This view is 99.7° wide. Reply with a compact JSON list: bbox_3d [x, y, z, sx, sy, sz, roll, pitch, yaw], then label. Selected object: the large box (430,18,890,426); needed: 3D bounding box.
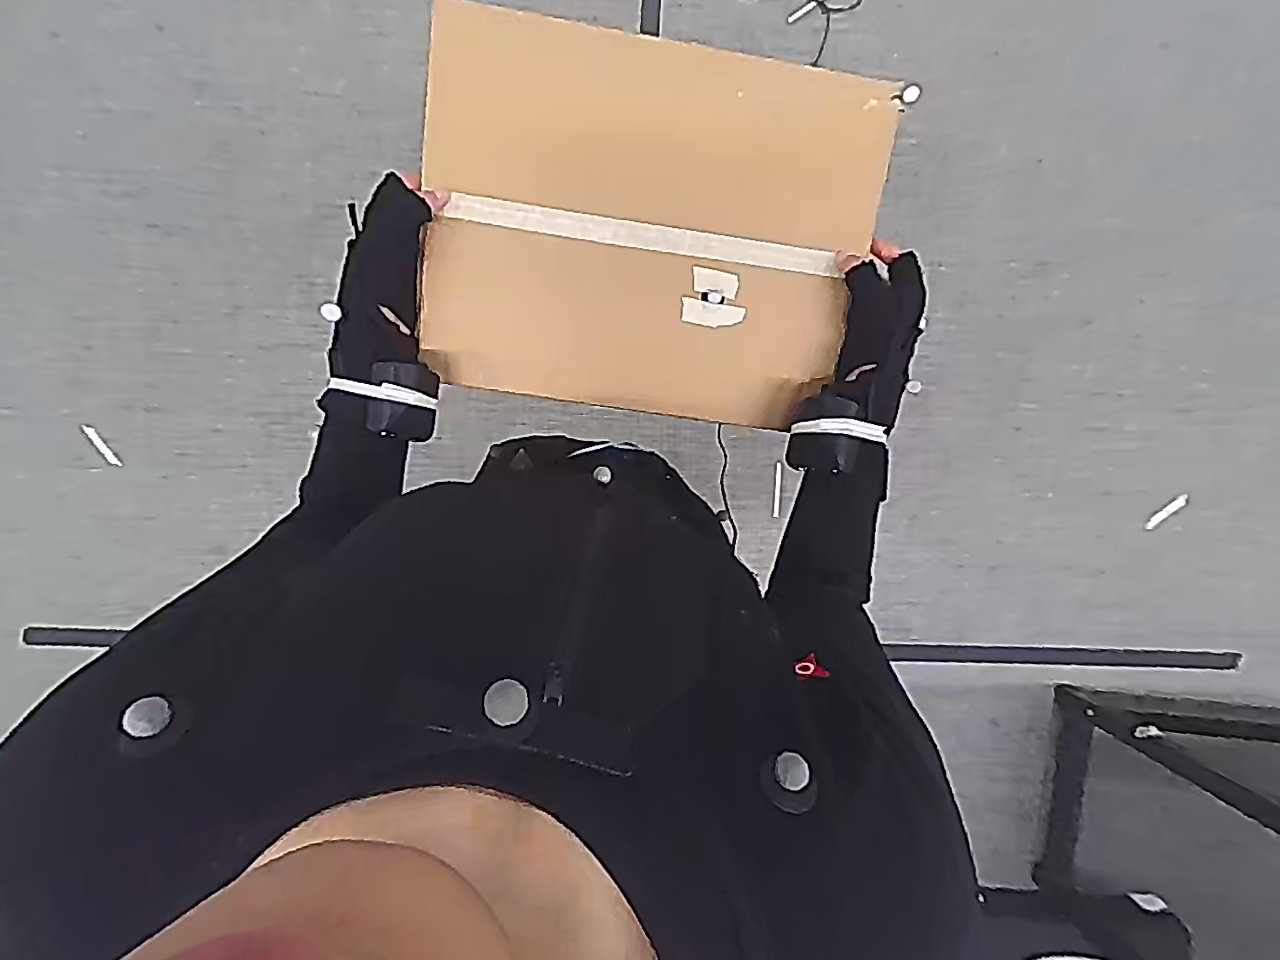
[{"bbox_3d":[0.003,-0.256,0.648,0.408,0.320,0.320,7,103,-5],"label":"large box"}]
